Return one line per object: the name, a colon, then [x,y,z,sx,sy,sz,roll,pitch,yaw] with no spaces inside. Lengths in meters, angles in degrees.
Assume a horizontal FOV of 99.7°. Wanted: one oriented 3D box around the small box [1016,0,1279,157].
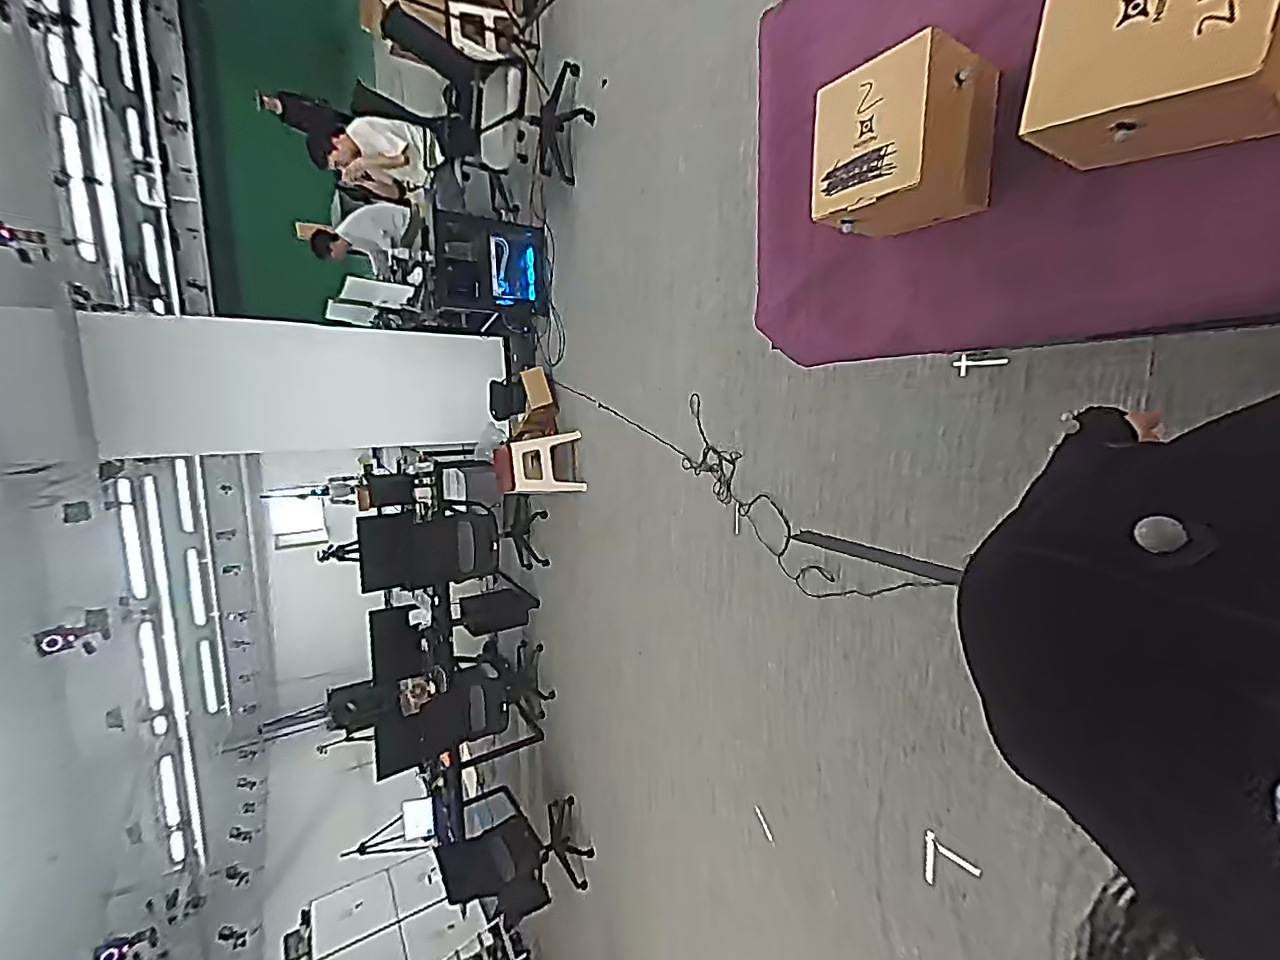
small box: [0.508,-0.430,0.513,0.179,0.176,0.168,24,115,53]
